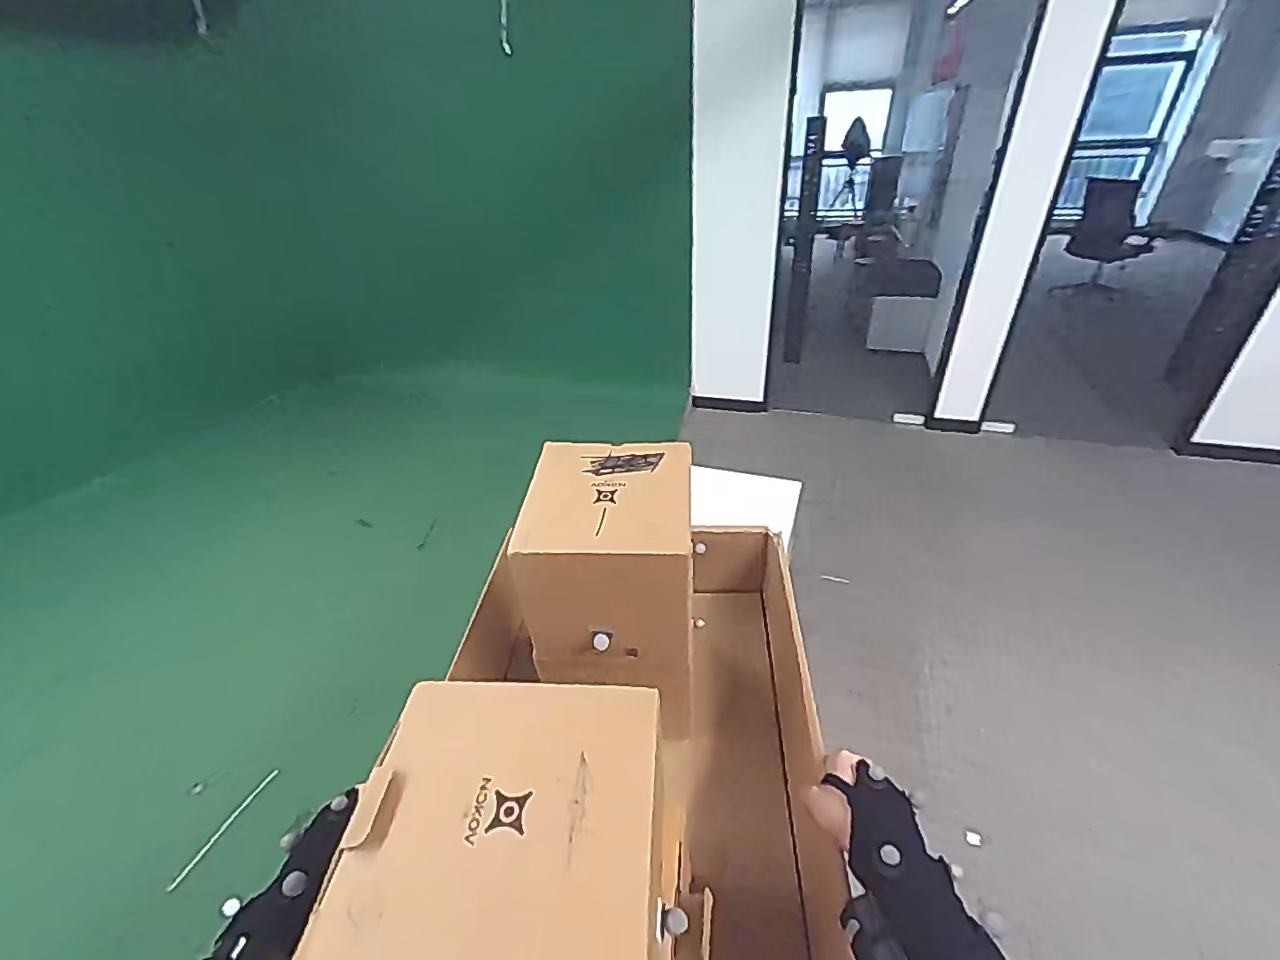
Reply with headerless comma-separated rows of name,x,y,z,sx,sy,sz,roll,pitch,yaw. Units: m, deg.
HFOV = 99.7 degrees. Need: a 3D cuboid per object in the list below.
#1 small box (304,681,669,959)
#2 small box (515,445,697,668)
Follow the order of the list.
small box,-0.072,0.259,0.367,0.179,0.176,0.168,1,37,4
small box,-0.023,0.079,0.594,0.168,0.176,0.179,0,39,6
